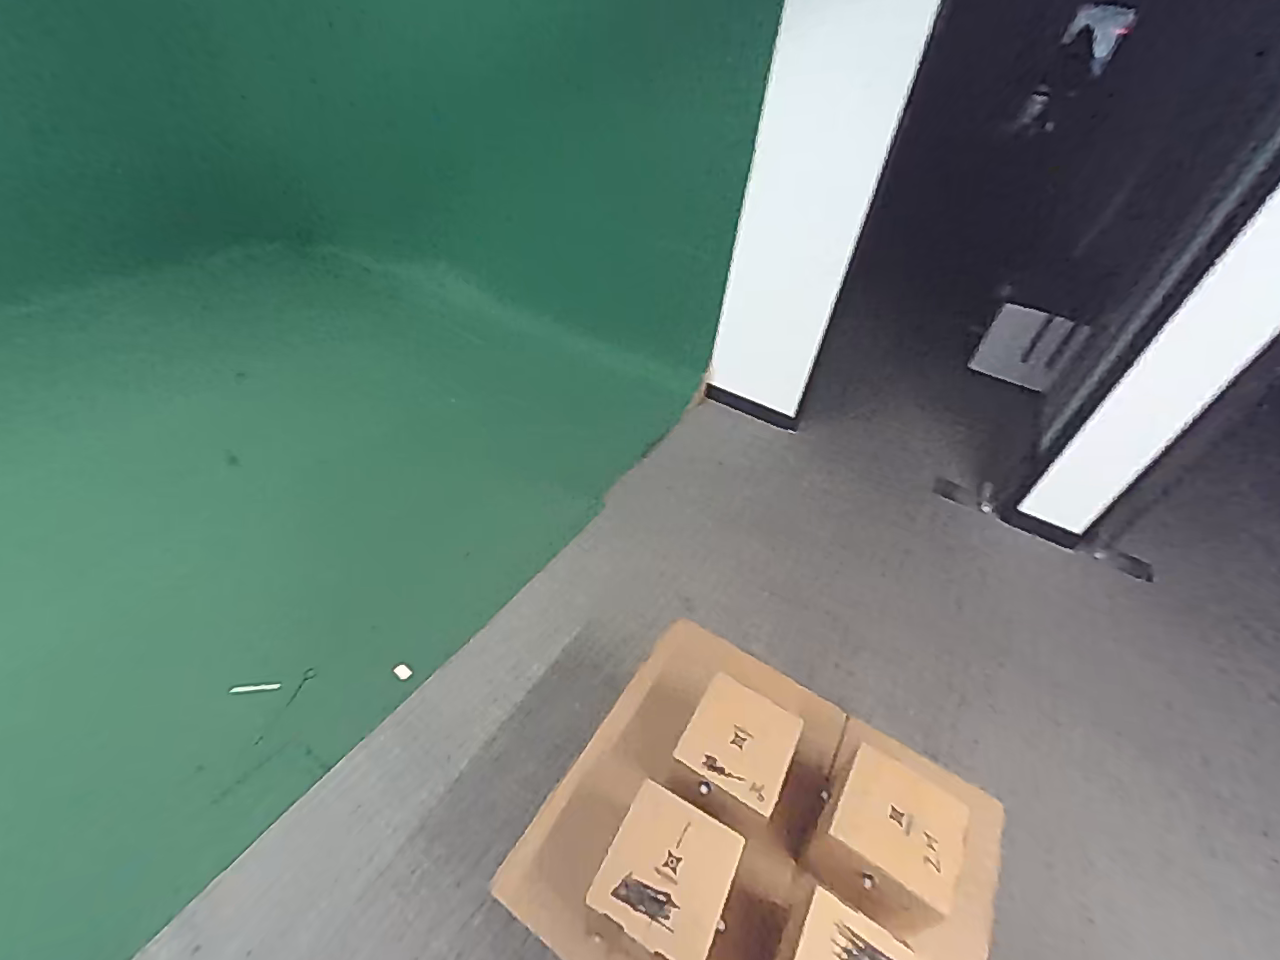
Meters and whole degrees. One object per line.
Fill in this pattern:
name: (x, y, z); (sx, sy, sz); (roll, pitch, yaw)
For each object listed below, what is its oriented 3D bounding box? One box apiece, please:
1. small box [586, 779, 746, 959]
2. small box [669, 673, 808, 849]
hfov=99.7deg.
small box: (0.036, 0.588, 0.786); (0.168, 0.176, 0.179); (23, 44, 18)
small box: (0.161, 0.477, 0.922); (0.168, 0.176, 0.179); (24, 44, 21)
